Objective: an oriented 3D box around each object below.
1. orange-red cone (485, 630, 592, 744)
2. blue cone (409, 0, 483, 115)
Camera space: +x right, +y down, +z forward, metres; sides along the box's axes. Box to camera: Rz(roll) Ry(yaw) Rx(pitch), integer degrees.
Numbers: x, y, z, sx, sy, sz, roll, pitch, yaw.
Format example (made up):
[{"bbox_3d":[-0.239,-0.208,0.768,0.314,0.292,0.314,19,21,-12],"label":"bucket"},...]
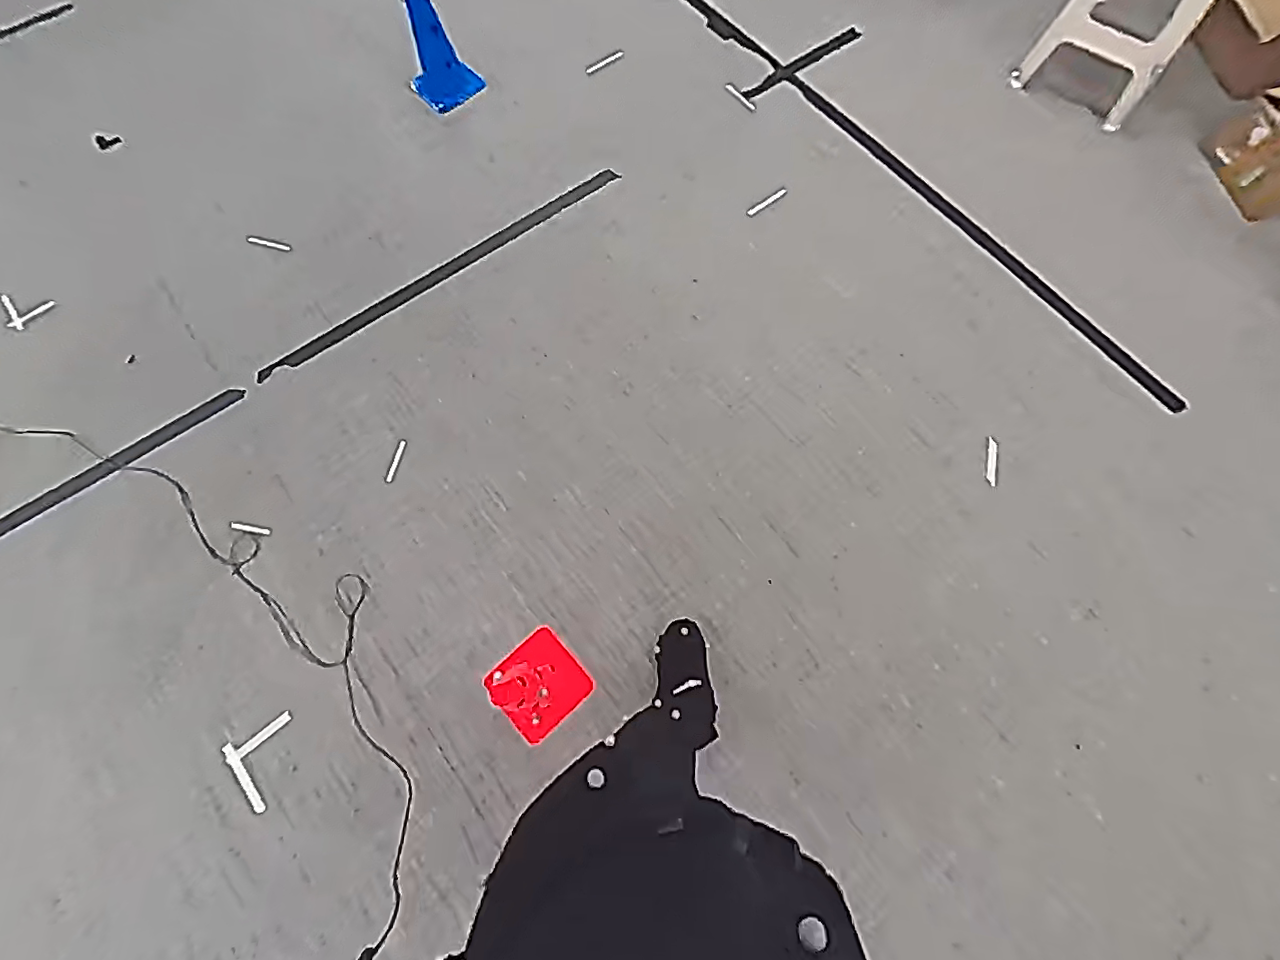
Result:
[{"bbox_3d":[-0.236,0.426,1.101,0.199,0.360,0.198,-40,76,-12],"label":"orange-red cone"},{"bbox_3d":[-0.656,-1.392,1.695,0.193,0.380,0.192,-41,76,-11],"label":"blue cone"}]
